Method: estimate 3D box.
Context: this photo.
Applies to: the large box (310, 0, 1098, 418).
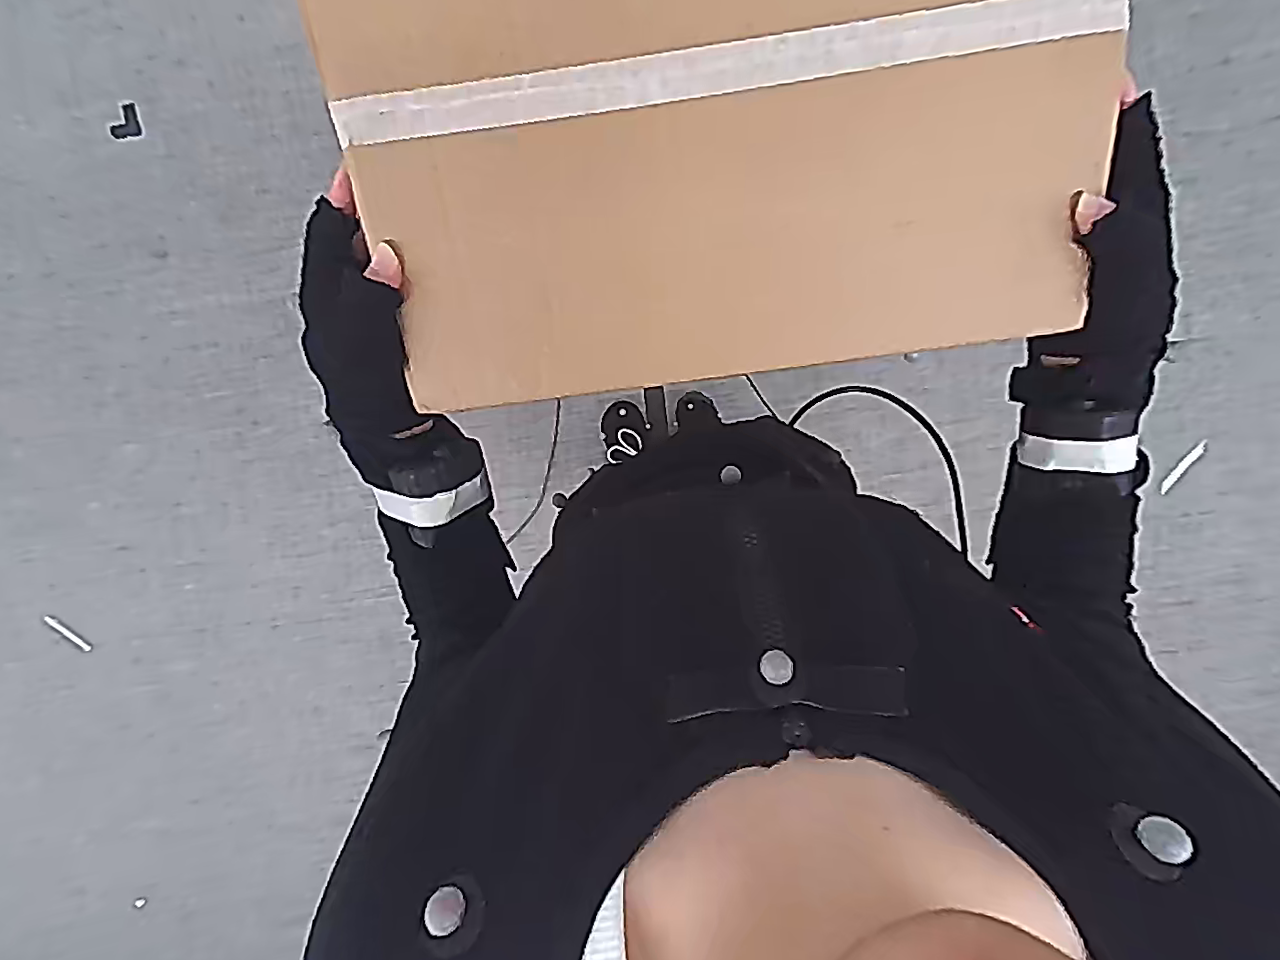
[{"bbox_3d":[0.038,-0.260,0.426,0.408,0.320,0.320,-7,110,2],"label":"large box"}]
